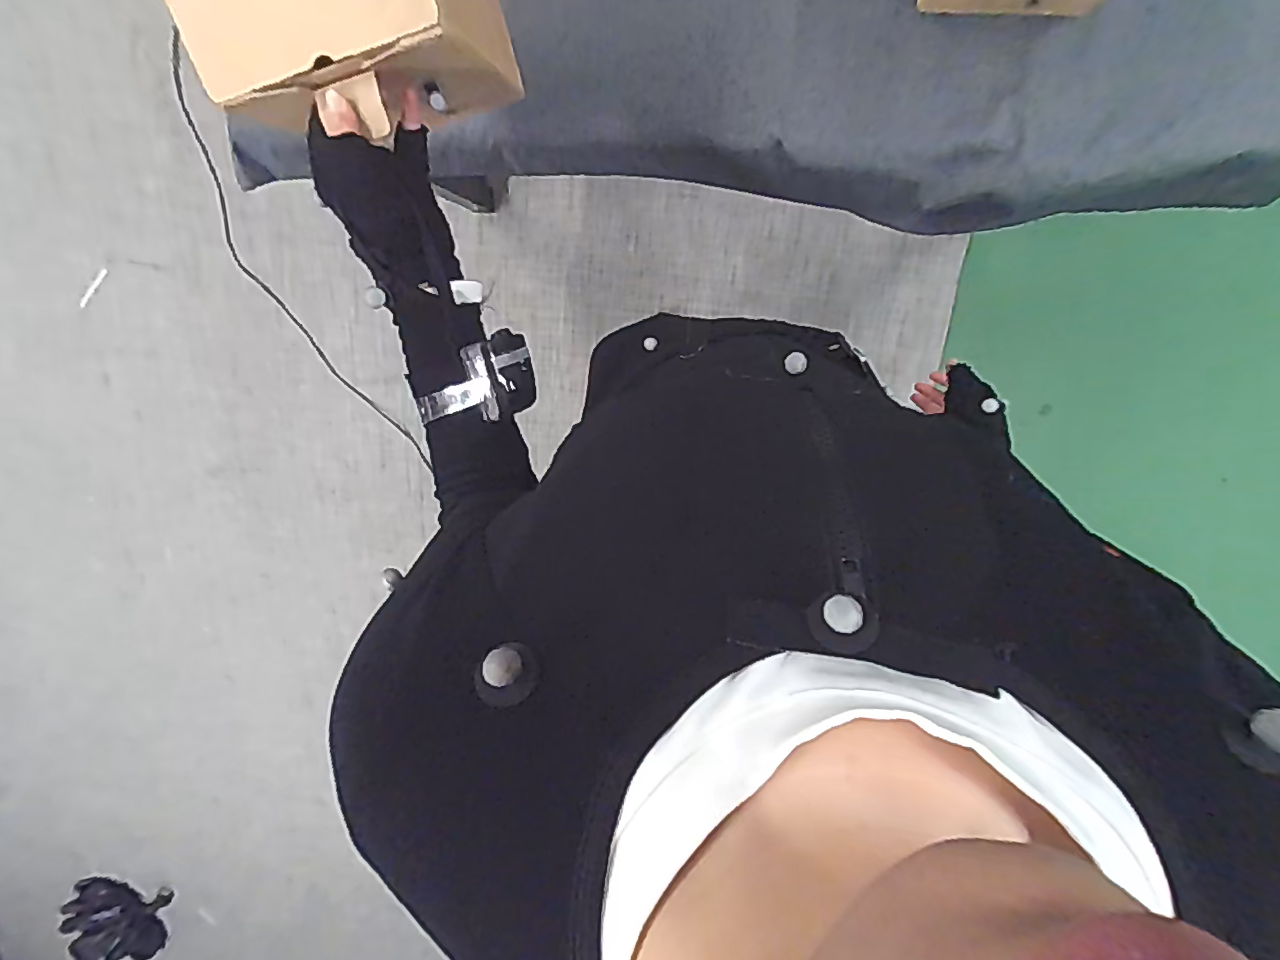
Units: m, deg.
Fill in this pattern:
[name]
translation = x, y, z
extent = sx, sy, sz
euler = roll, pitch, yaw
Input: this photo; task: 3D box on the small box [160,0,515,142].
[small box]
translation = -0.205, -0.356, 0.372
extent = 0.168, 0.176, 0.179
euler = -11, 111, 9
